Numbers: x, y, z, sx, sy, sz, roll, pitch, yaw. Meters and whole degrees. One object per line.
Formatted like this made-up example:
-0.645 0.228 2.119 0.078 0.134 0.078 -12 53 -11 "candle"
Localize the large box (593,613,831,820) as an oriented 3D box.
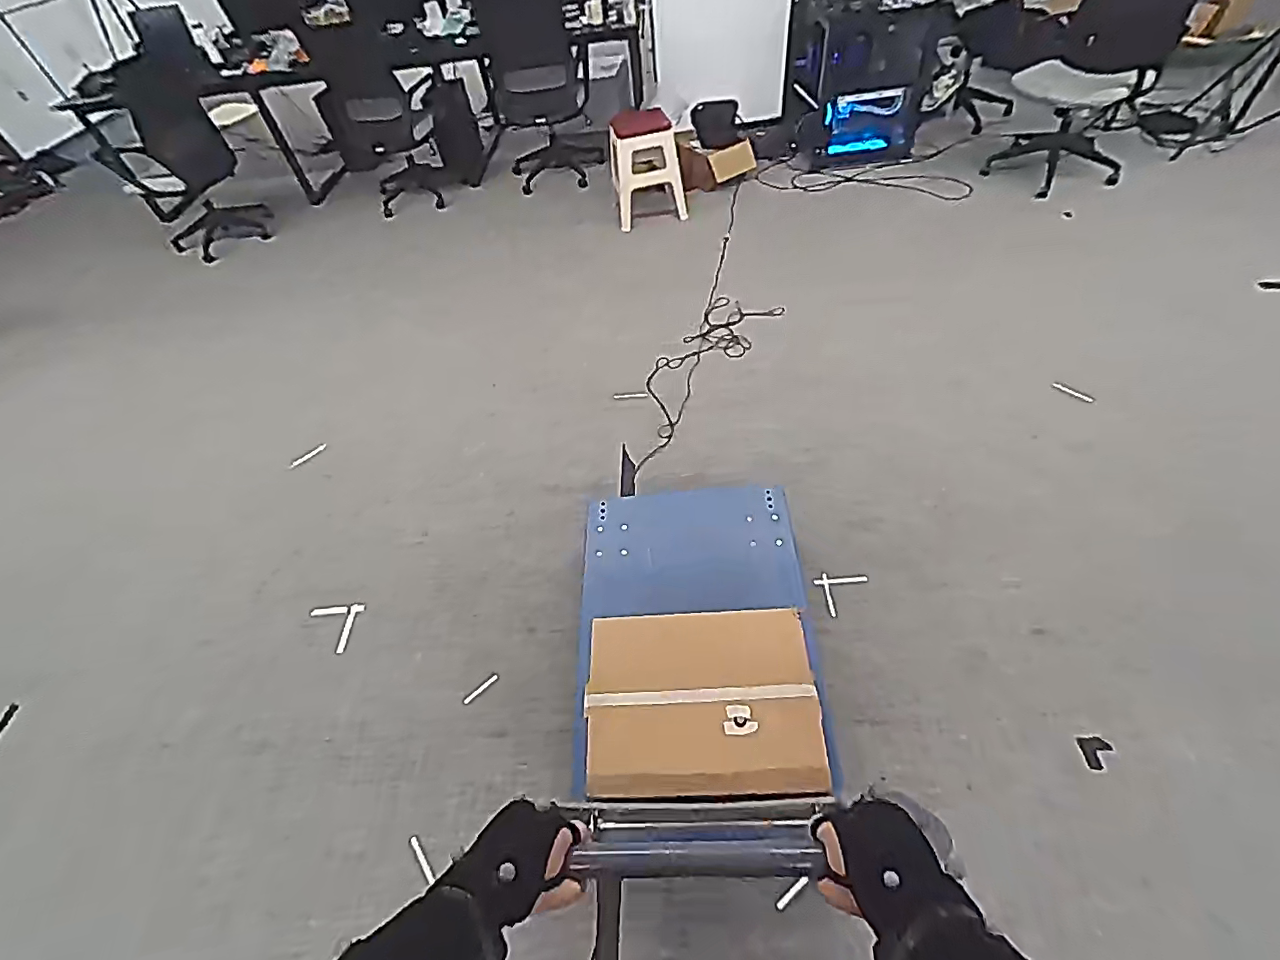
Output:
0.125 0.489 1.099 0.408 0.320 0.320 -5 54 4 "large box"
